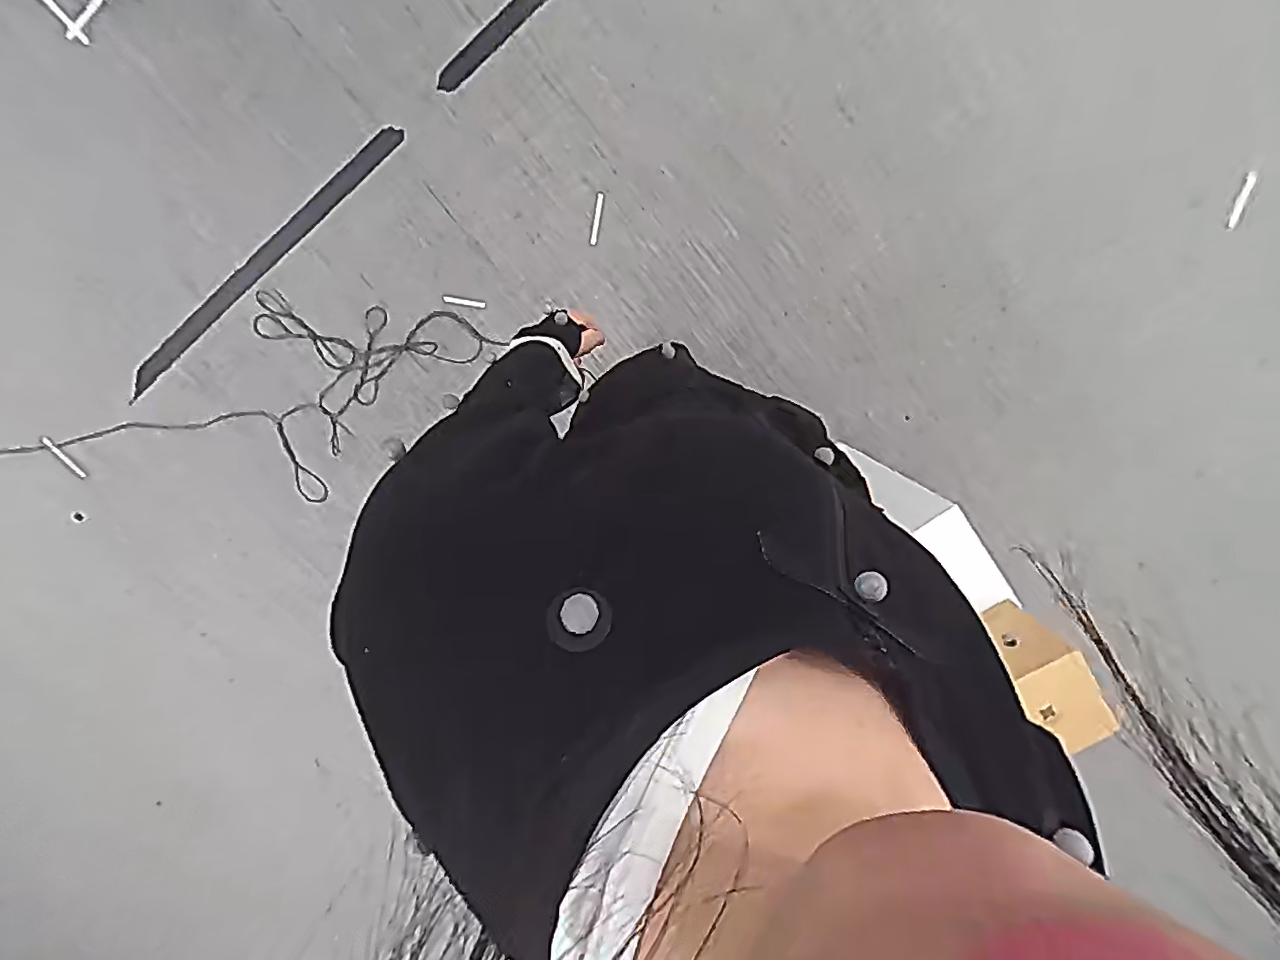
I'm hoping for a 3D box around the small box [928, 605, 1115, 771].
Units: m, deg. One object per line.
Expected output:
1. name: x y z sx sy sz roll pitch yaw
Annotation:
1. small box: 0.629 0.337 0.915 0.168 0.176 0.179 -33 103 9
